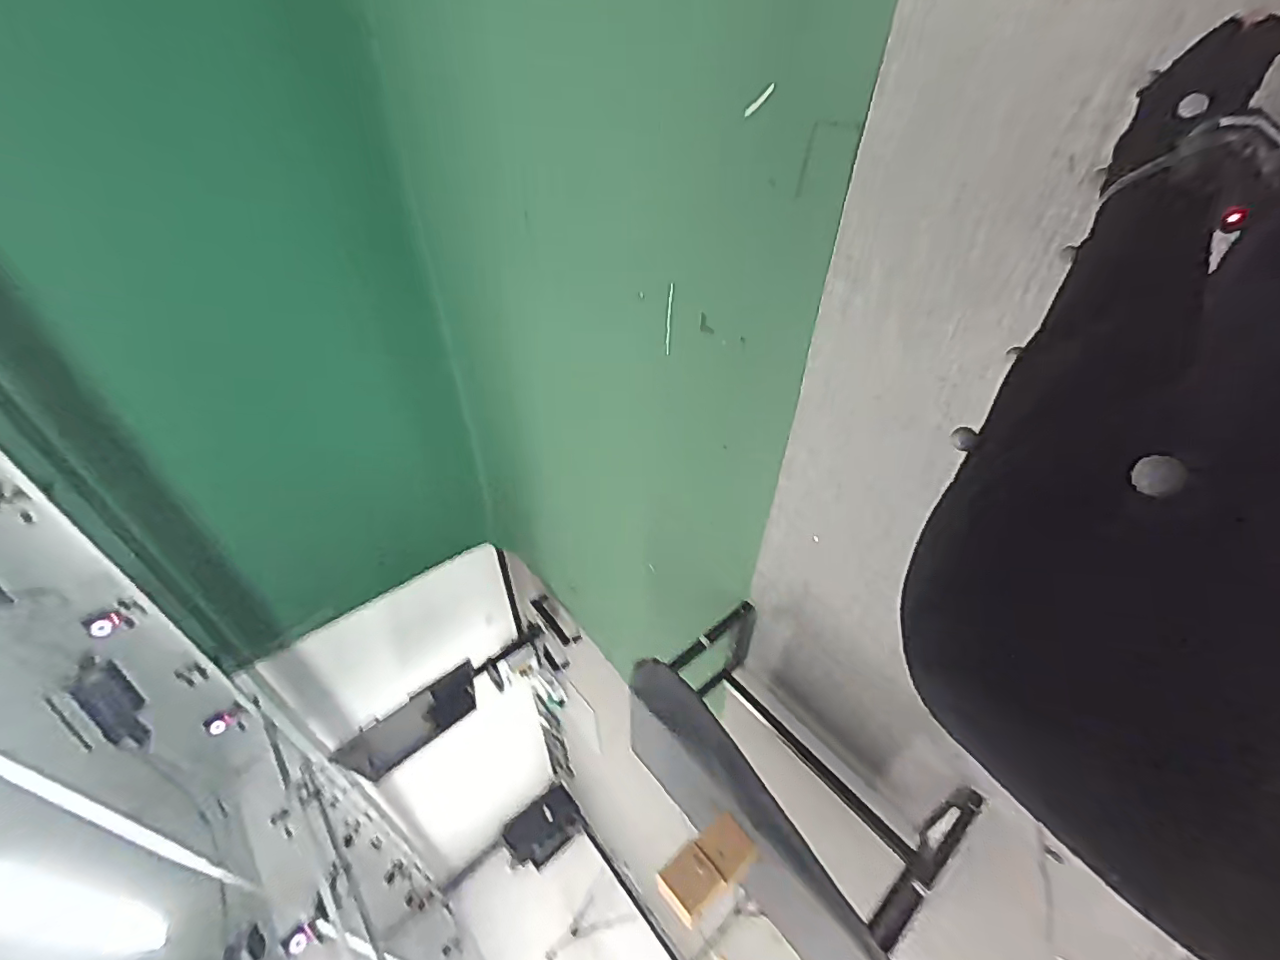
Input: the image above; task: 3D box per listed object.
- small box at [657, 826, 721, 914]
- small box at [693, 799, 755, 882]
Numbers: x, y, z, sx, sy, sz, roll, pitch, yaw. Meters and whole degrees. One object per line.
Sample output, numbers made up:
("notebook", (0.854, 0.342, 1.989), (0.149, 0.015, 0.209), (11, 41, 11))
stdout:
("small box", (0.179, 1.410, 1.958), (0.168, 0.176, 0.179), (33, 140, 39))
("small box", (0.311, 1.350, 2.032), (0.179, 0.176, 0.168), (39, 145, 36))
